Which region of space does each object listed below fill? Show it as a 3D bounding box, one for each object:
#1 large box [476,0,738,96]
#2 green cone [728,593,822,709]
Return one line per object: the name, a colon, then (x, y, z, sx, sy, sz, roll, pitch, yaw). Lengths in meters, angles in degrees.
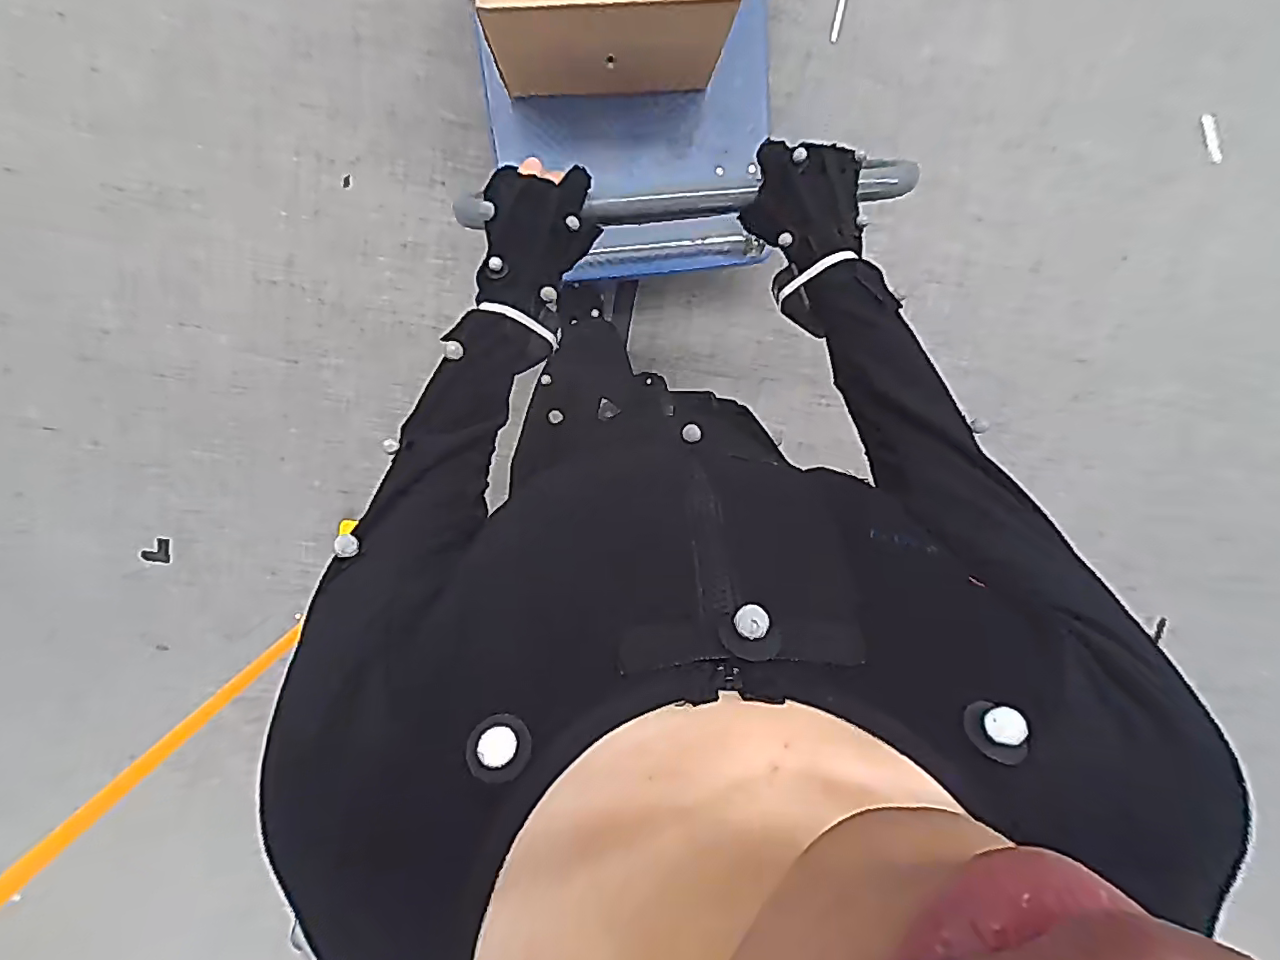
large box: (-0.063, -0.897, 0.918, 0.408, 0.320, 0.320, -4, 105, -2)
green cone: (0.388, 0.480, 1.442, 0.202, 0.368, 0.200, 12, 103, -8)
